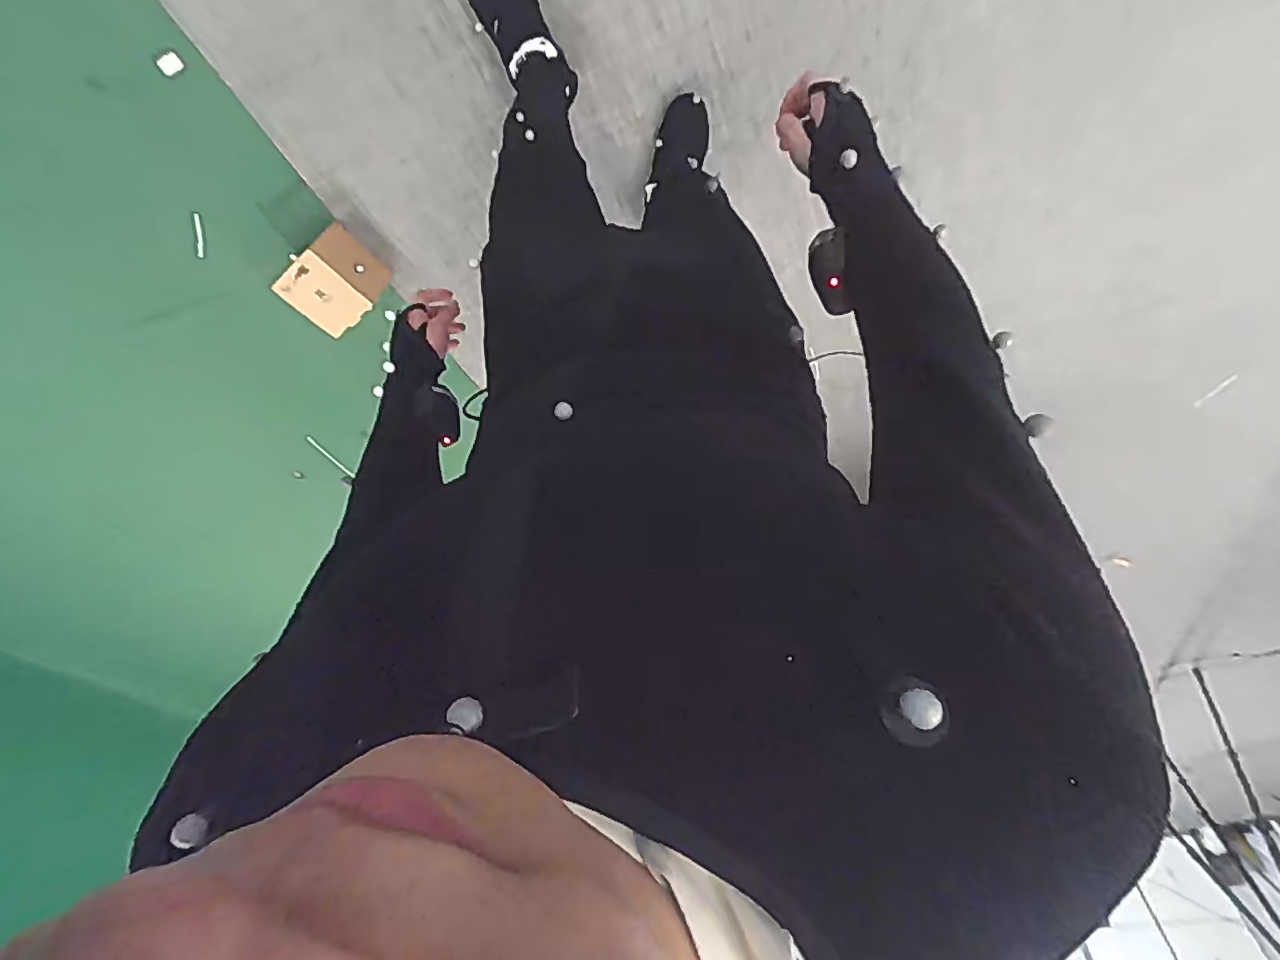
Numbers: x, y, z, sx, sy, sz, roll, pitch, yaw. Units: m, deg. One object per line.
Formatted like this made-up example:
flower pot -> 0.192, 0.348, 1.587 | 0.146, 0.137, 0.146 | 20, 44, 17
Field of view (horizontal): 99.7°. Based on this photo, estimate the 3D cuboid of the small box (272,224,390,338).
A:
small box -> -0.769, -0.504, 1.366 | 0.168, 0.176, 0.179 | -27, 131, 23
